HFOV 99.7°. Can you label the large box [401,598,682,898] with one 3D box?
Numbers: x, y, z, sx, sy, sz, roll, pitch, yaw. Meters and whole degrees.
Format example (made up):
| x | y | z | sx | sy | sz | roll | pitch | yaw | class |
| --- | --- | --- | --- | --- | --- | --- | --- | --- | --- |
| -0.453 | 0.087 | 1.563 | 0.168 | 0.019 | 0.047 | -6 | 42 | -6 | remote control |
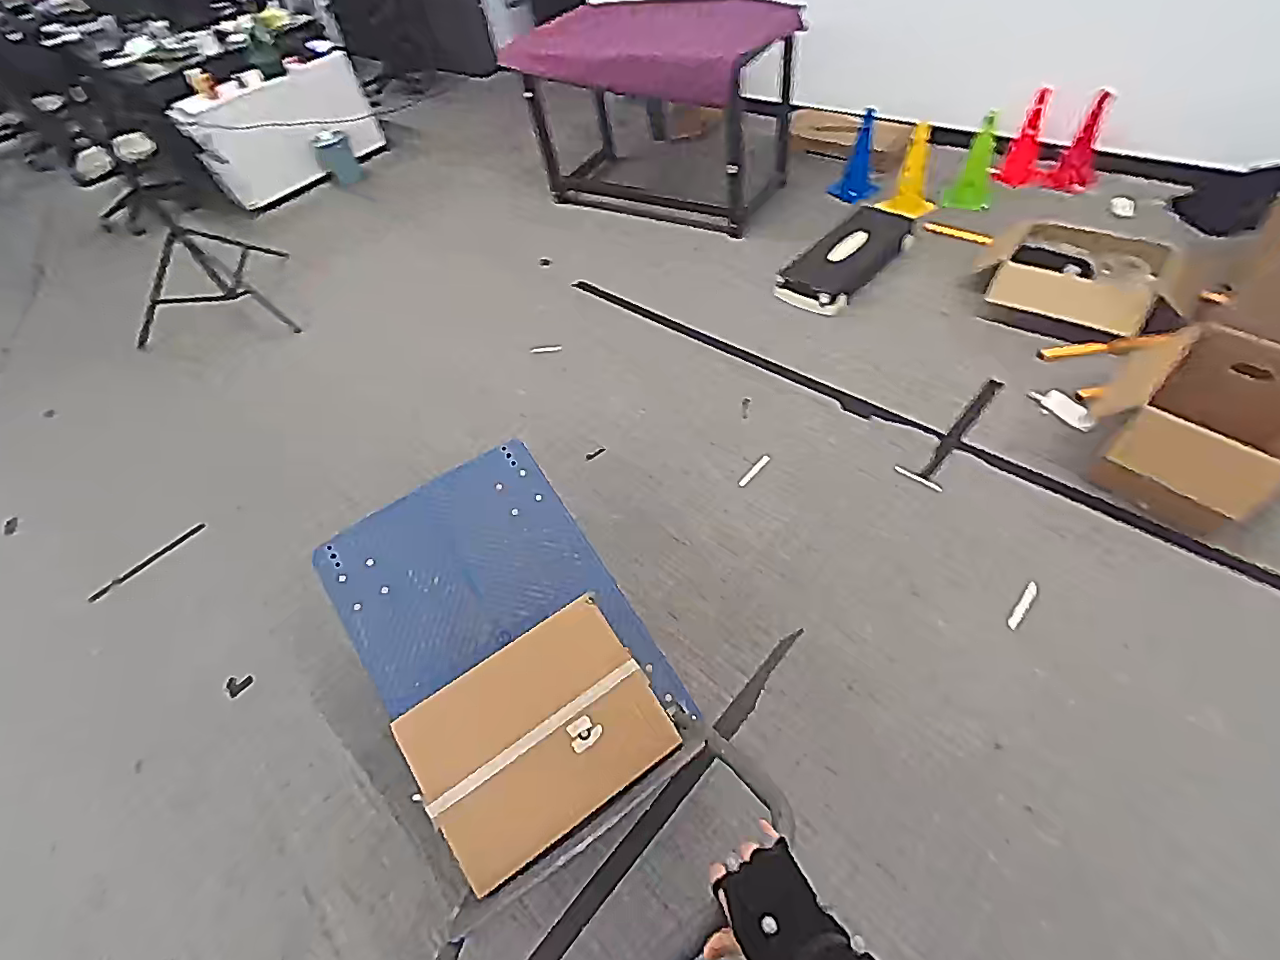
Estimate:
| x | y | z | sx | sy | sz | roll | pitch | yaw | class |
| --- | --- | --- | --- | --- | --- | --- | --- | --- | --- |
| -0.181 | 0.500 | 1.086 | 0.408 | 0.320 | 0.320 | -33 | 76 | -16 | large box |
